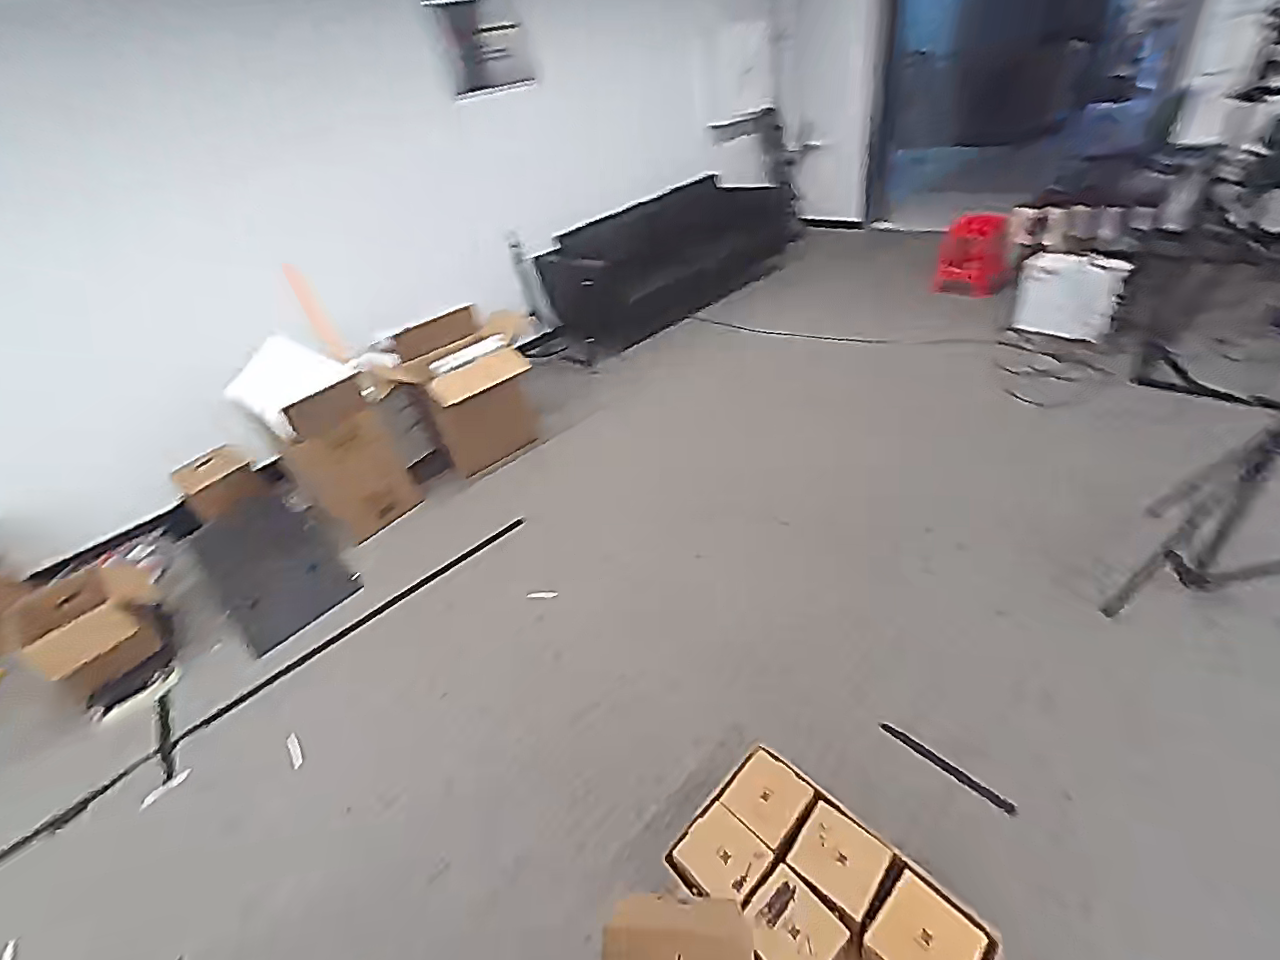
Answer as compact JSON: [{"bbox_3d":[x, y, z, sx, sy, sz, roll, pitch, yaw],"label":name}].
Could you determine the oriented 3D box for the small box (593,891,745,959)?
[{"bbox_3d":[0.033,0.600,0.619,0.168,0.176,0.179,1,62,4],"label":"small box"}]
